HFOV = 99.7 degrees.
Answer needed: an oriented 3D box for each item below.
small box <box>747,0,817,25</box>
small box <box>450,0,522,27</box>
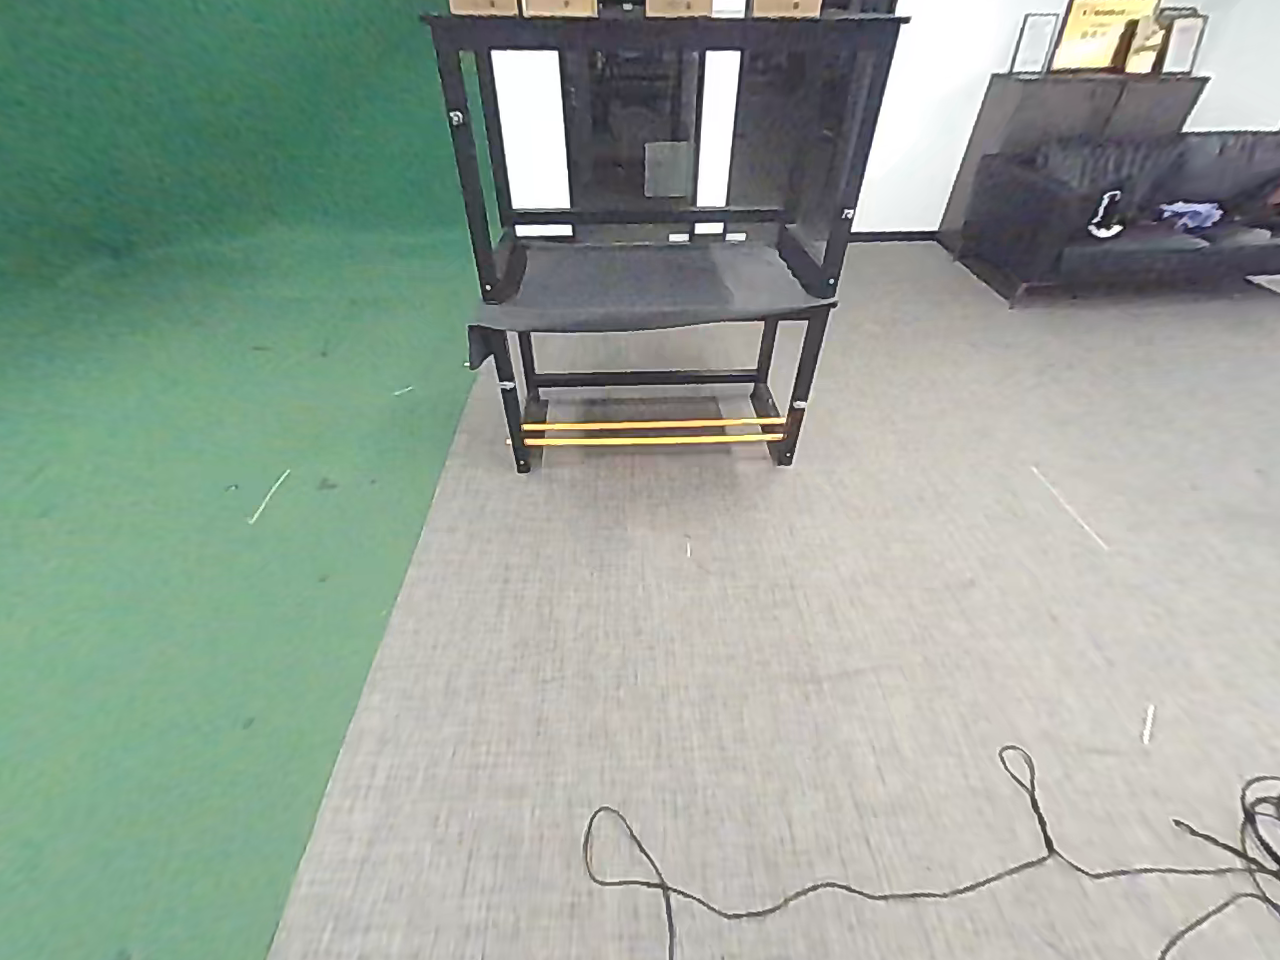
[{"bbox_3d":[0.367,-1.276,1.380,0.168,0.176,0.179,4,41,4],"label":"small box"},{"bbox_3d":[-0.397,-1.271,1.375,0.168,0.176,0.179,-2,42,-4],"label":"small box"}]
